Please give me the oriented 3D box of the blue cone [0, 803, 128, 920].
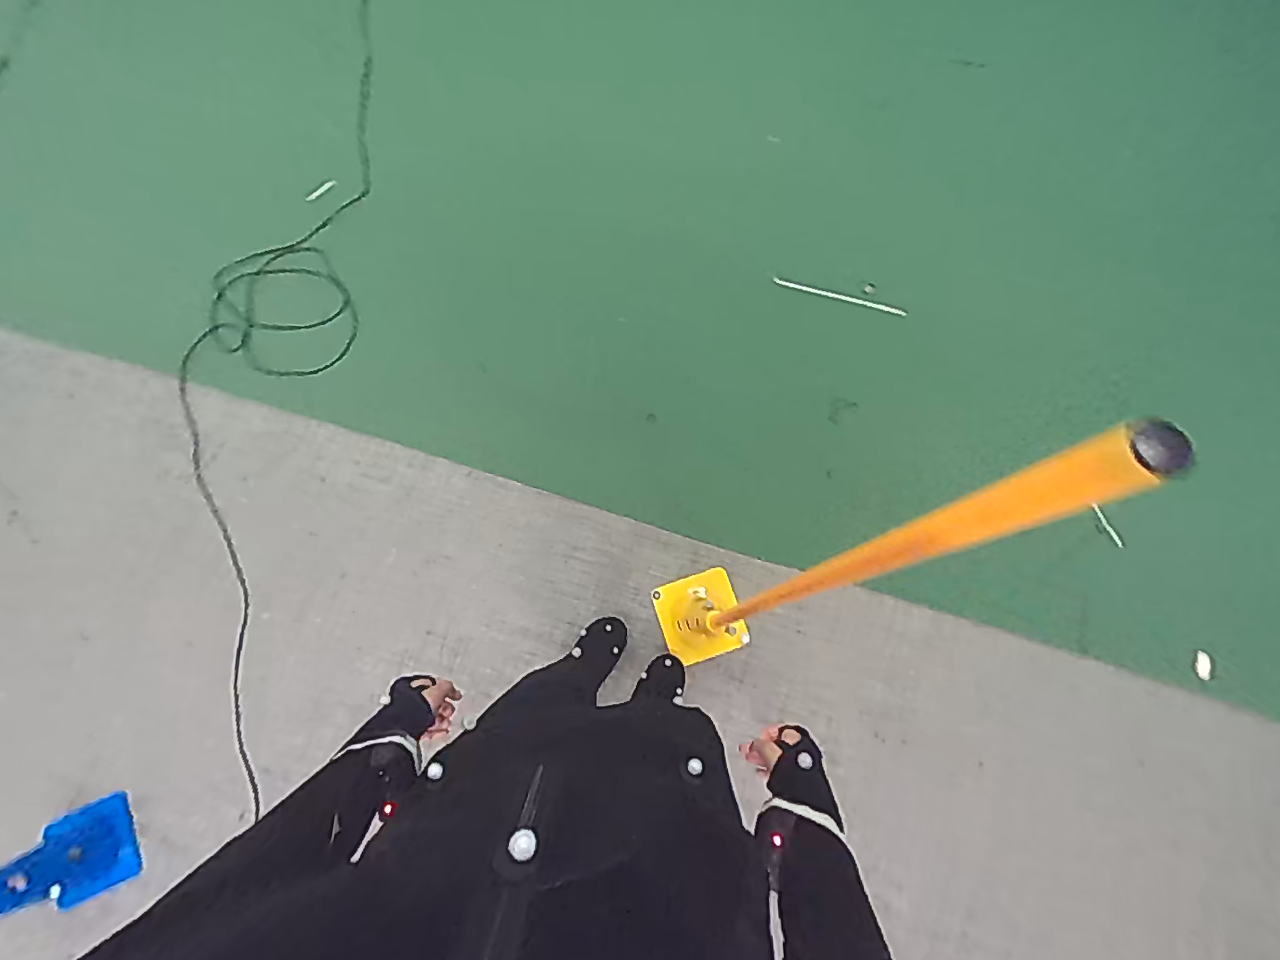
[{"bbox_3d":[-1.288,0.842,1.080,0.193,0.380,0.192,-27,79,-2],"label":"blue cone"}]
